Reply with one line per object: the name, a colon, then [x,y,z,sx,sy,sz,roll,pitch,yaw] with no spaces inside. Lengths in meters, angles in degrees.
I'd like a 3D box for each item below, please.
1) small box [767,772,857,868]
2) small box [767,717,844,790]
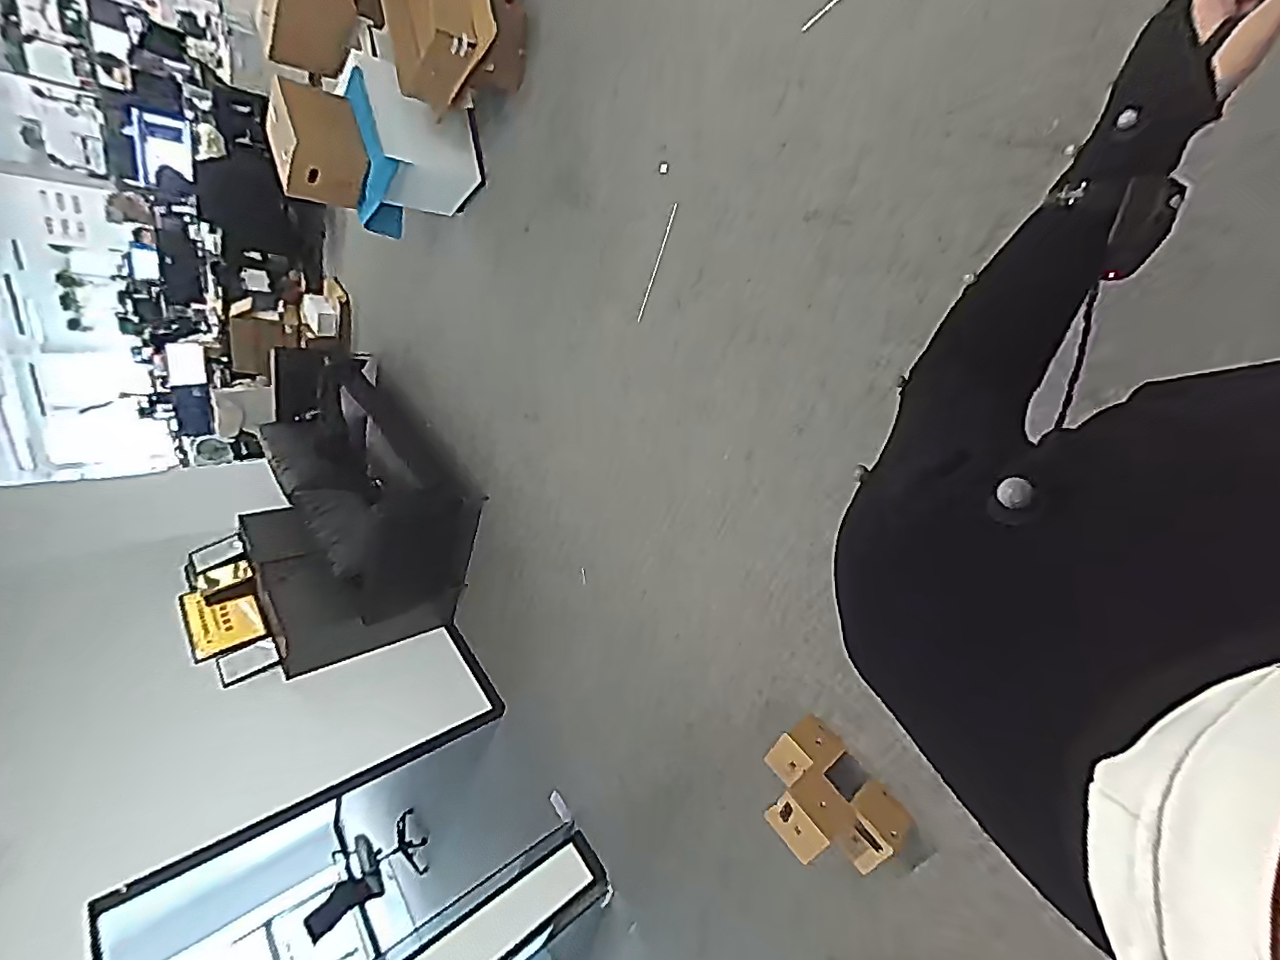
small box: [0.543,1.059,1.703,0.179,0.176,0.168,44,127,31]
small box: [0.583,0.965,1.883,0.168,0.176,0.179,43,127,32]
